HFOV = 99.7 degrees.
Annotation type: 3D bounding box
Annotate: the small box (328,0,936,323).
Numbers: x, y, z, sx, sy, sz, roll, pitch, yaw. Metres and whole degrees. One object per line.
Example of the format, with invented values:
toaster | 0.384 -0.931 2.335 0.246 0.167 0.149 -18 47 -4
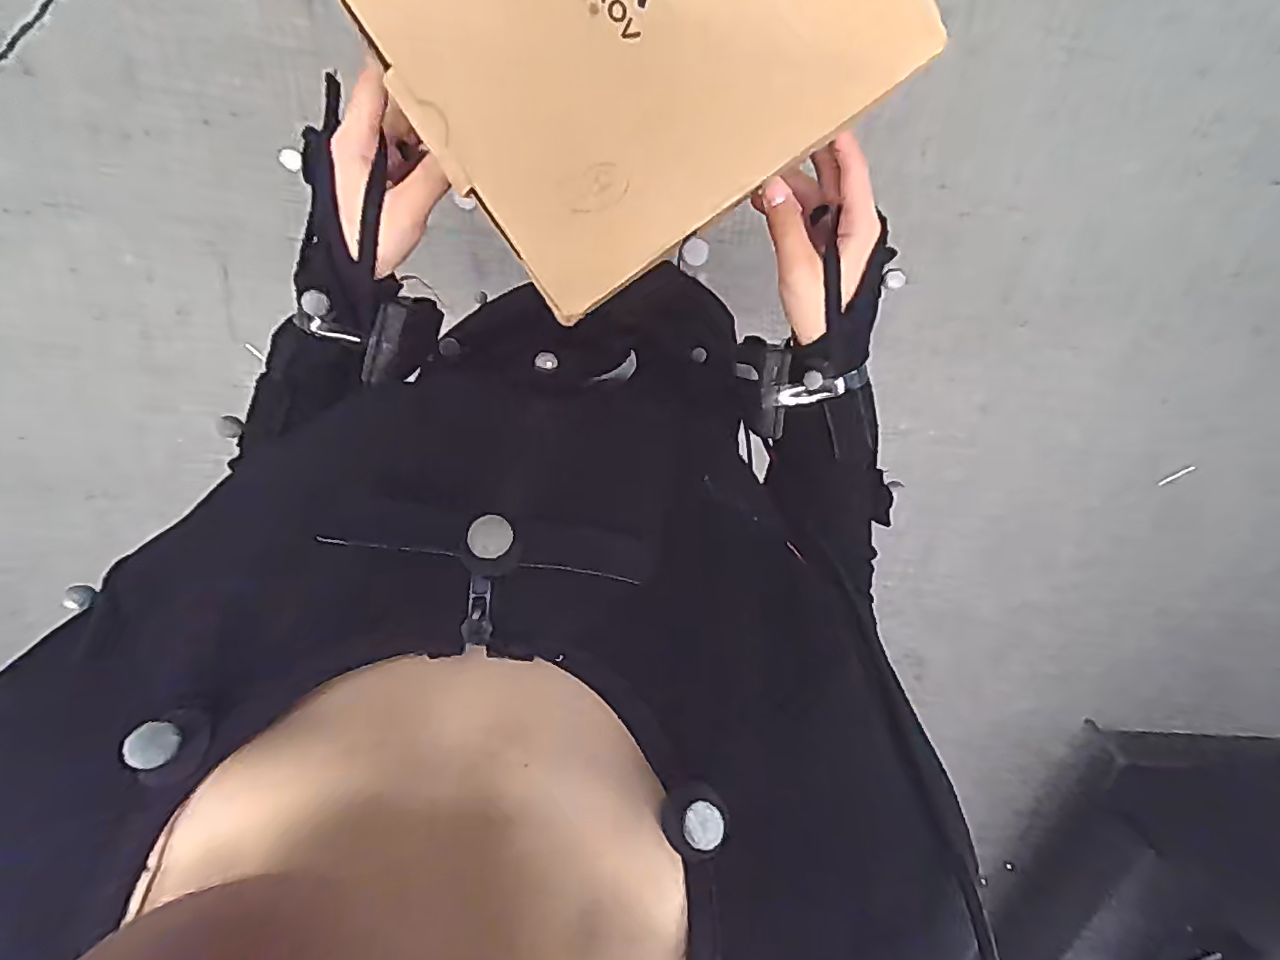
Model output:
small box | -0.009 -0.194 0.264 0.179 0.176 0.168 -33 106 7
